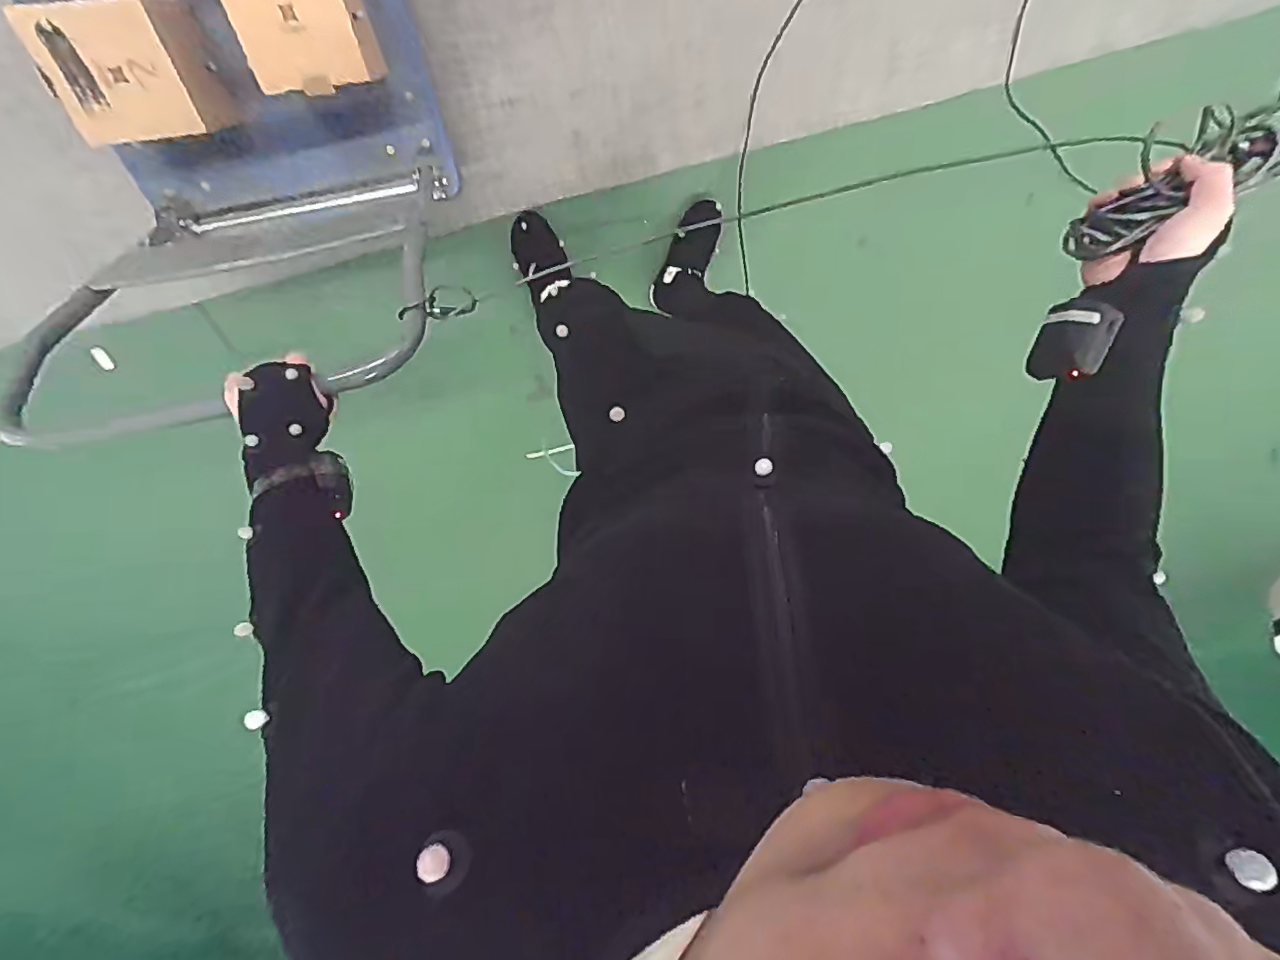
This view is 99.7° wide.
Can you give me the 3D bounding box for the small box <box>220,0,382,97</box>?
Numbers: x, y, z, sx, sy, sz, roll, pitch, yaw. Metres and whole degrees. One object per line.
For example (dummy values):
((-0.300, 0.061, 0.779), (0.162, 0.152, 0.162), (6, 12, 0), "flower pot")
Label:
((-0.528, -0.726, 0.845), (0.168, 0.176, 0.179), (-13, 134, -4), "small box")
